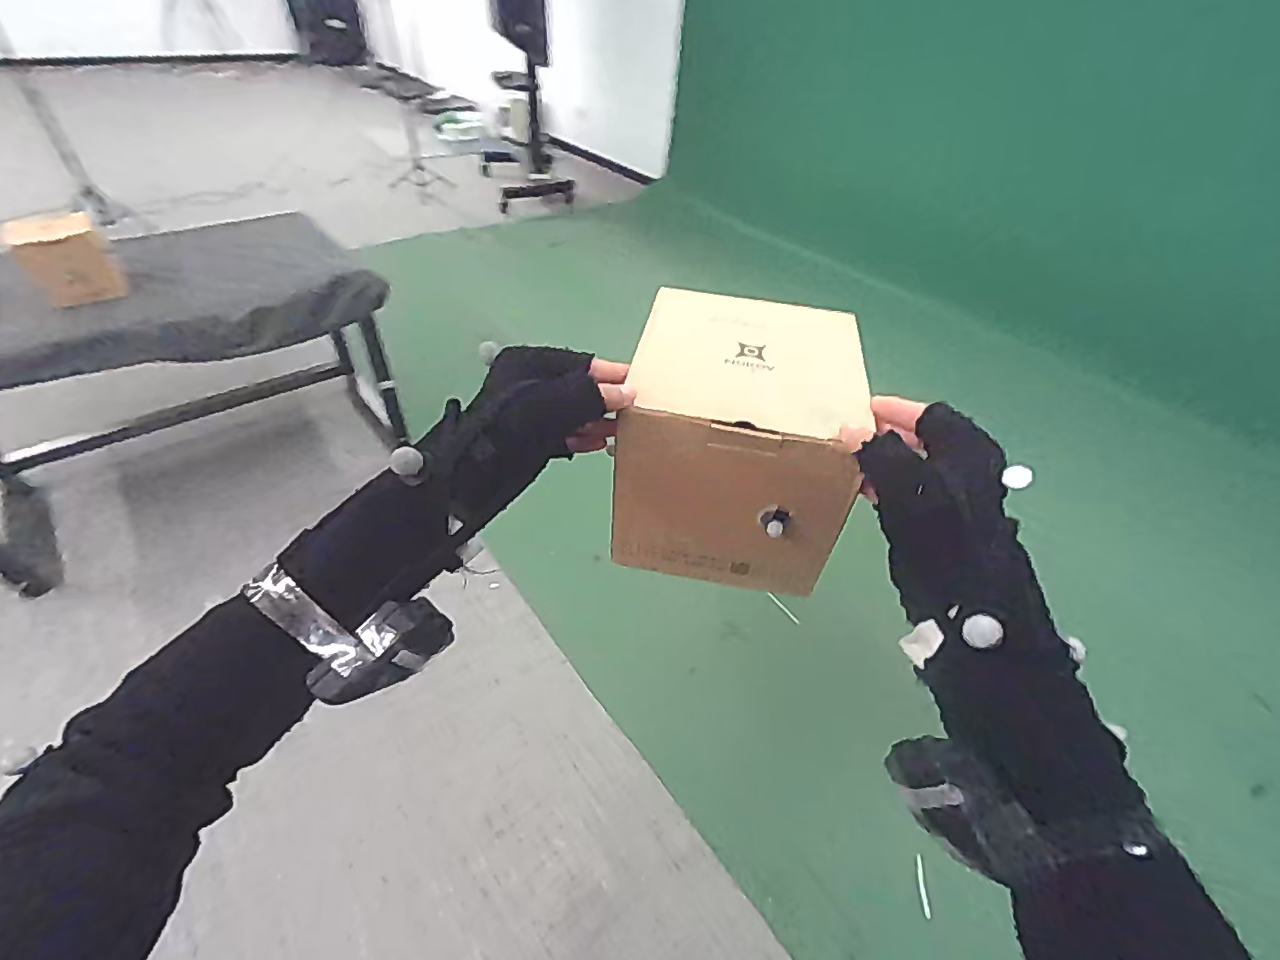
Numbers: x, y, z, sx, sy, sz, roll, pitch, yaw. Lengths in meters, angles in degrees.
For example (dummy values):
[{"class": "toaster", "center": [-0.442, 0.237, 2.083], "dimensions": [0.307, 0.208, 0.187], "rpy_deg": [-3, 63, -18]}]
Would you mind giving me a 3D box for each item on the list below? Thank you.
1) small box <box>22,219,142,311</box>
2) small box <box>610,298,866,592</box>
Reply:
[{"class": "small box", "center": [-1.473, -0.567, 1.436], "dimensions": [0.168, 0.176, 0.179], "rpy_deg": [-26, 52, -29]}, {"class": "small box", "center": [0.072, -0.030, 0.457], "dimensions": [0.168, 0.176, 0.179], "rpy_deg": [9, 43, 5]}]
